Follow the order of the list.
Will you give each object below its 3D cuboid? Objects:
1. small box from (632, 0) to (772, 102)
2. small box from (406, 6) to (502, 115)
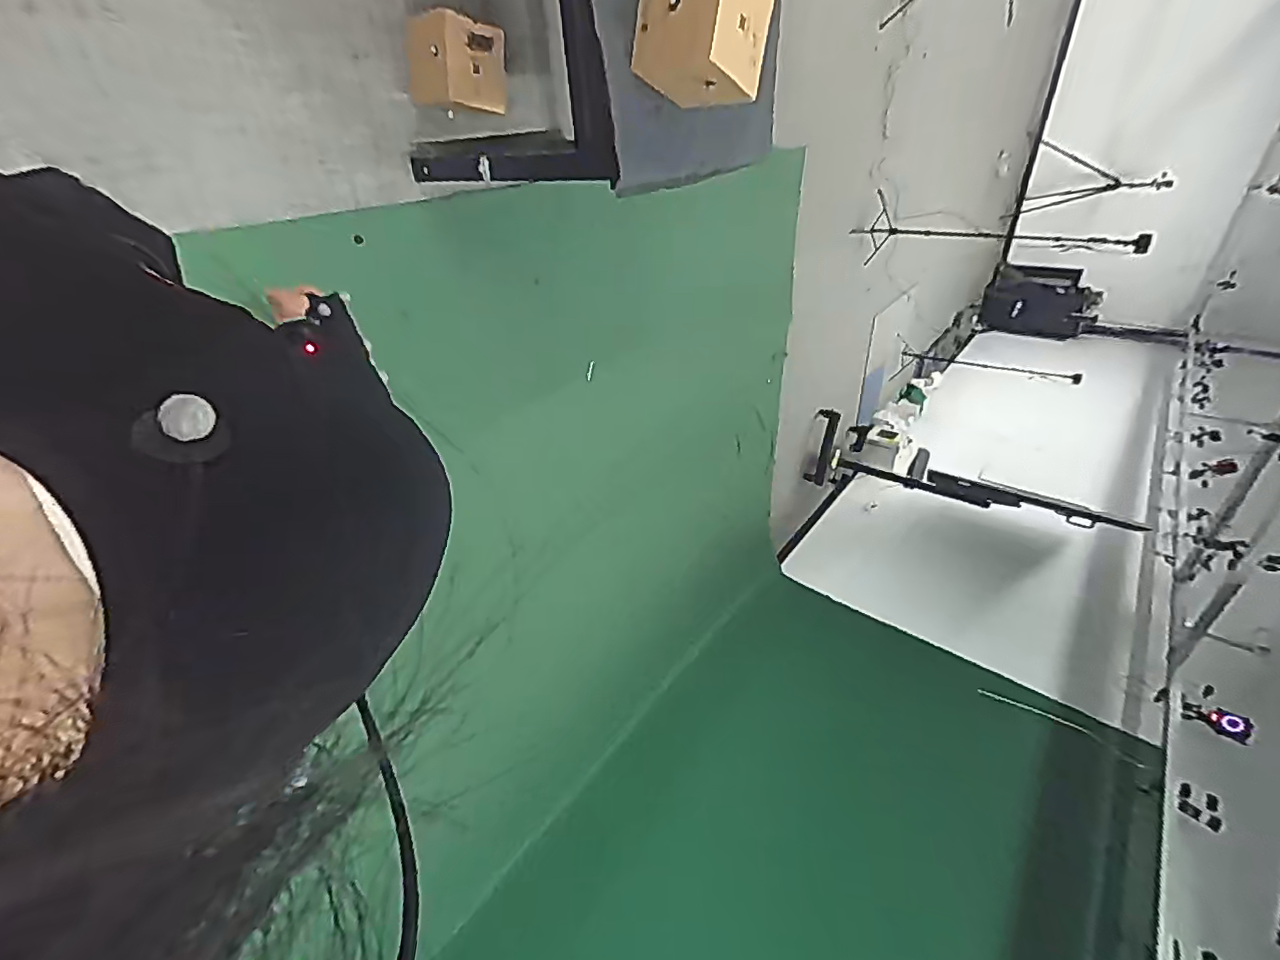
[{"bbox_3d":[0.105,-0.789,0.949,0.179,0.176,0.168,-15,120,-53],"label":"small box"},{"bbox_3d":[-0.462,-1.028,1.343,0.168,0.176,0.179,-23,127,-46],"label":"small box"}]
